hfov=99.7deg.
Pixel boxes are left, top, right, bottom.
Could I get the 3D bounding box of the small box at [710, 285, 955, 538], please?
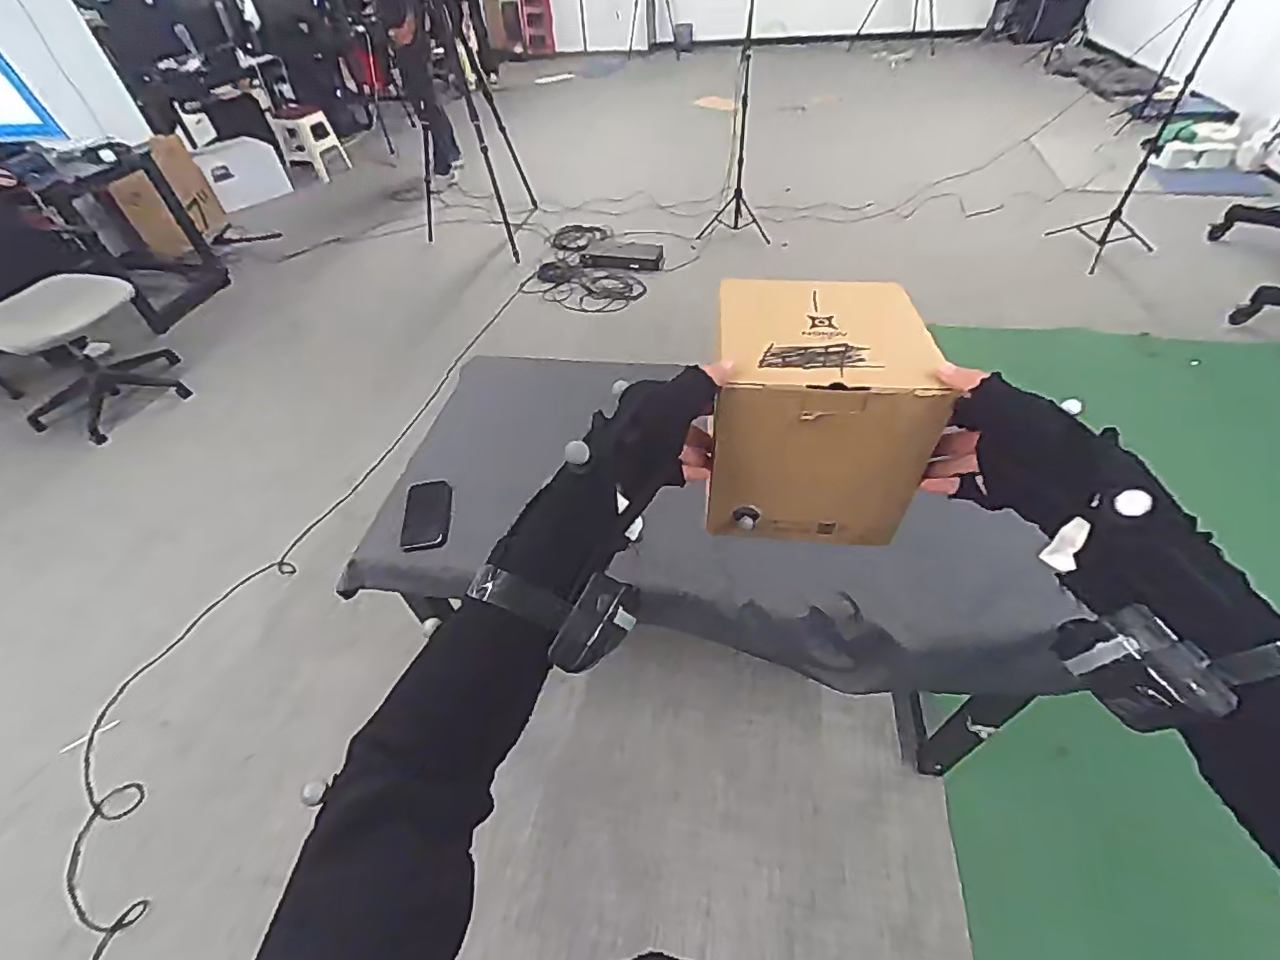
[{"bbox_3d":[0.153,-0.063,0.499,0.168,0.176,0.179,3,43,5],"label":"small box"}]
